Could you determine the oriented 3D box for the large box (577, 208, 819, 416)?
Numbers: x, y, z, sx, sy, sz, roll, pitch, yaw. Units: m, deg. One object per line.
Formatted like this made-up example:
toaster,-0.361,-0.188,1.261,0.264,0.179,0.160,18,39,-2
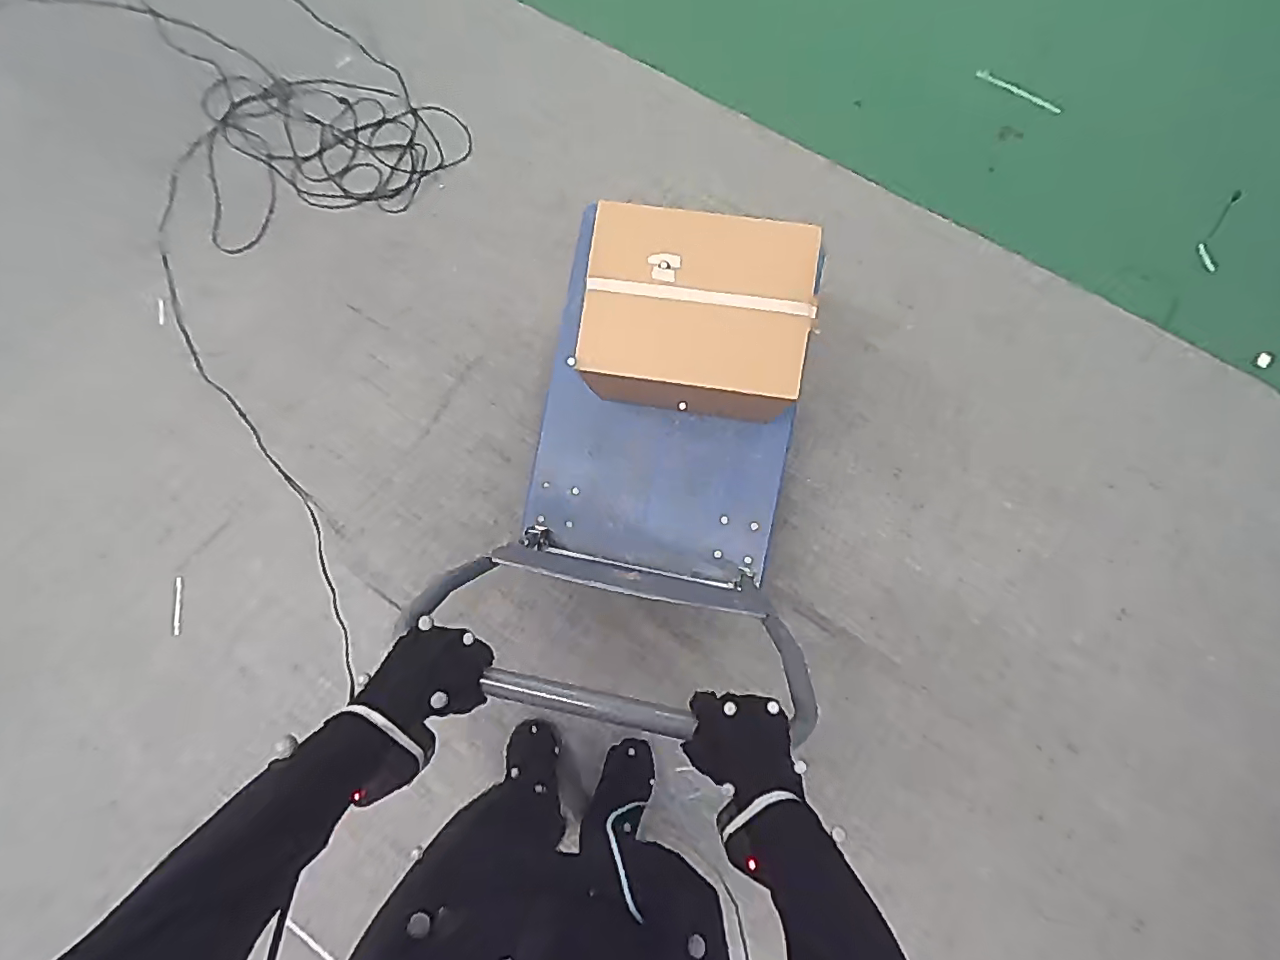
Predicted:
large box,0.115,-0.317,1.107,0.408,0.320,0.320,8,89,5
